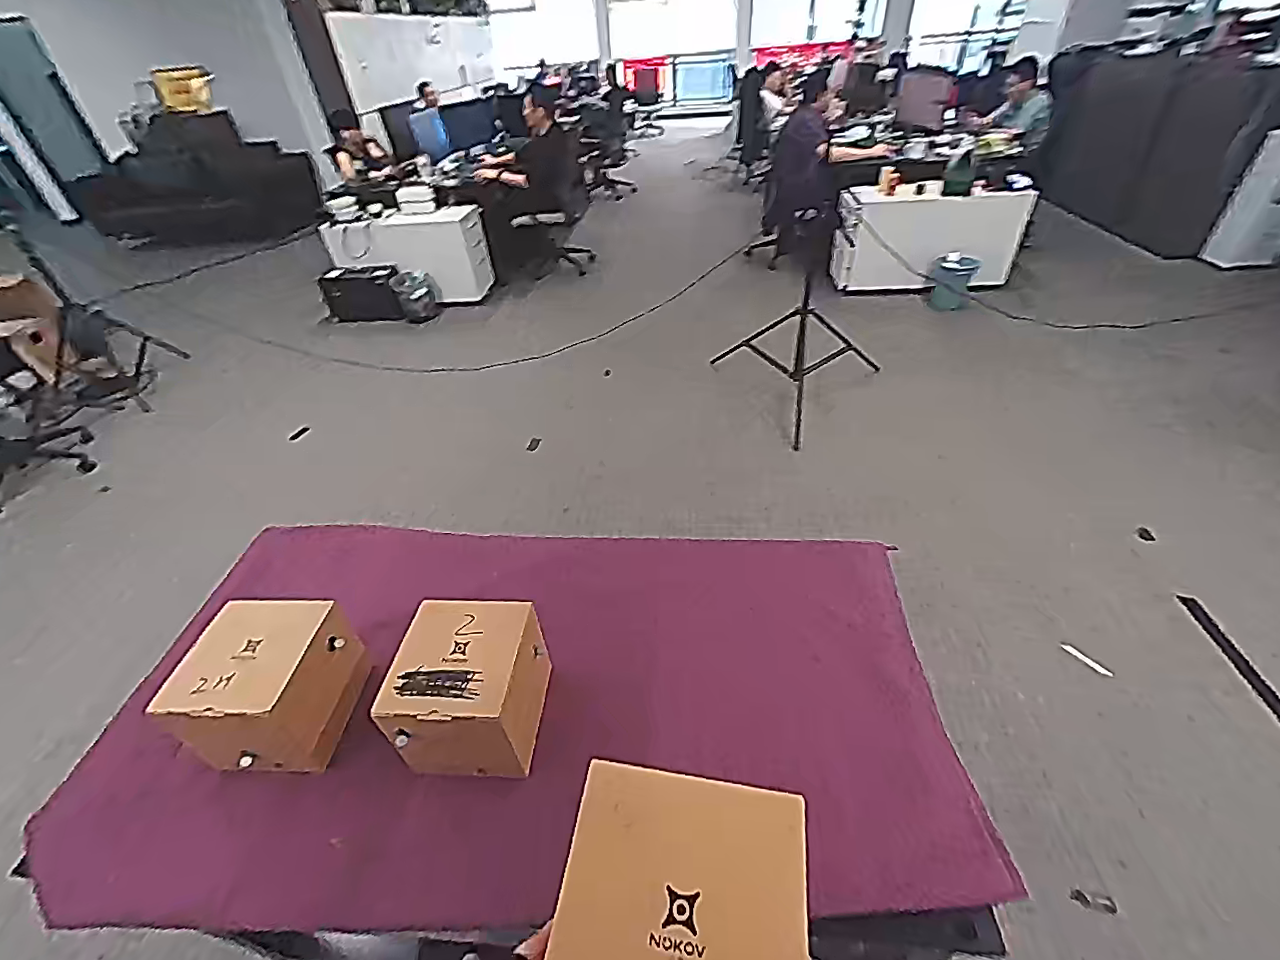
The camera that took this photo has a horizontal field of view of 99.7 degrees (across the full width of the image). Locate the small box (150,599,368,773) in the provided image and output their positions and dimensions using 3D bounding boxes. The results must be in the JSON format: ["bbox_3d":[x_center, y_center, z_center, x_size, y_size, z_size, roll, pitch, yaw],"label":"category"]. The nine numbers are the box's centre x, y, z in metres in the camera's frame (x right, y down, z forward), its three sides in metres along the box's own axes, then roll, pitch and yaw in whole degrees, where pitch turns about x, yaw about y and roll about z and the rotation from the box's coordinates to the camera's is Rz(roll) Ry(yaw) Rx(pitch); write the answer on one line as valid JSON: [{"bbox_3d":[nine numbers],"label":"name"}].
[{"bbox_3d":[-0.522,0.293,0.779,0.168,0.176,0.179,-1,40,3],"label":"small box"}]

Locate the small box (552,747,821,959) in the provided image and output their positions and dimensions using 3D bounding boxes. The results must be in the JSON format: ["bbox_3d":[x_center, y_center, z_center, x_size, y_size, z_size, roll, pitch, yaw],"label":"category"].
[{"bbox_3d":[0.036,0.335,0.407,0.168,0.176,0.179,5,44,9],"label":"small box"}]
